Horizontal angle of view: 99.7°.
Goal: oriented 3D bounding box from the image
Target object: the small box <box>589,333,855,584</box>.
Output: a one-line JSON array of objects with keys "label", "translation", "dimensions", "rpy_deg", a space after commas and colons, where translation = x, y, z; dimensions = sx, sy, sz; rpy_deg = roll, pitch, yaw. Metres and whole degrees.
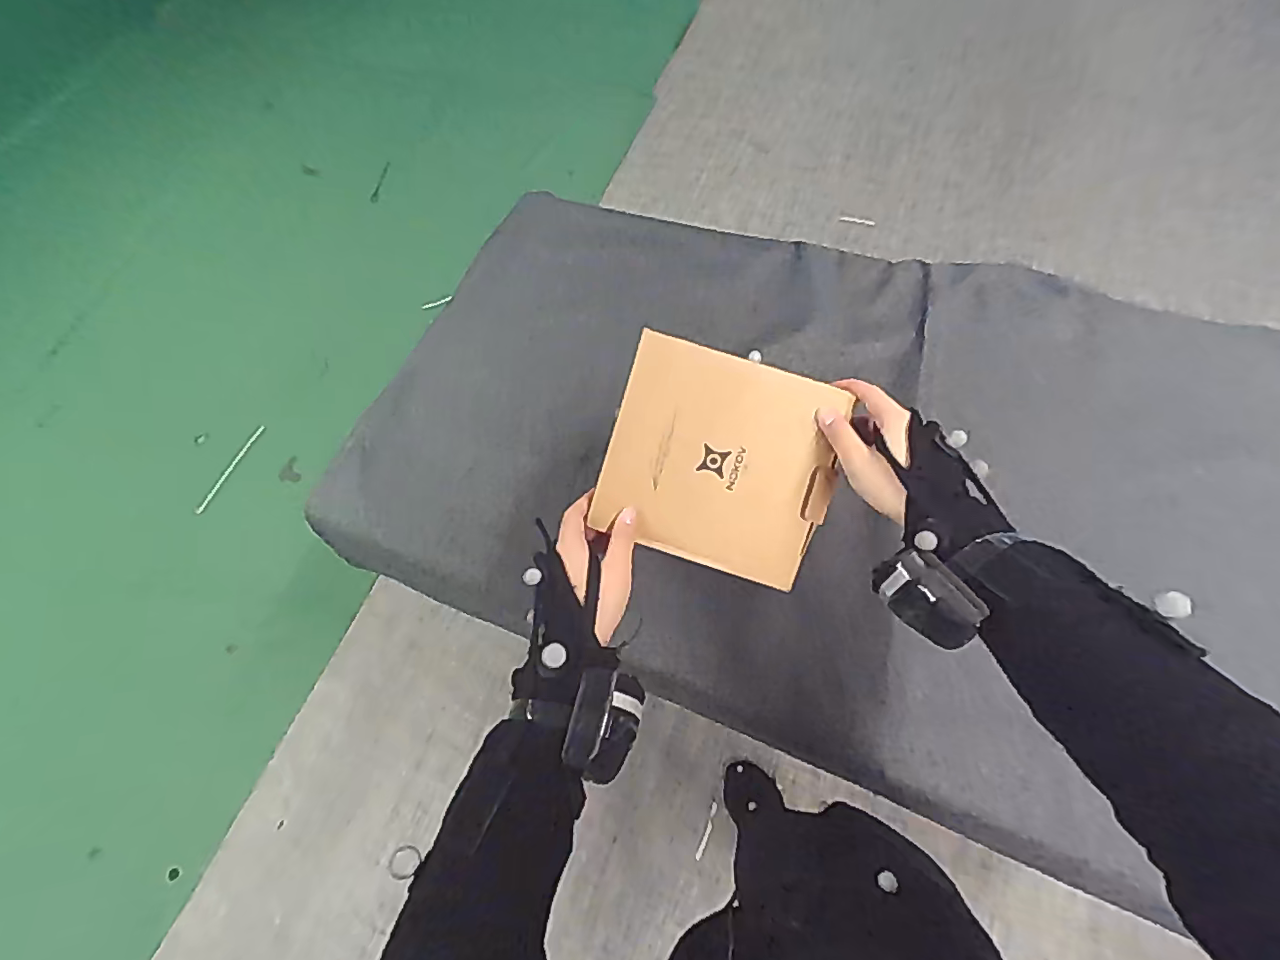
[{"label": "small box", "translation": [0.068, -0.024, 0.511], "dimensions": [0.179, 0.176, 0.168], "rpy_deg": [17, 96, 3]}]
